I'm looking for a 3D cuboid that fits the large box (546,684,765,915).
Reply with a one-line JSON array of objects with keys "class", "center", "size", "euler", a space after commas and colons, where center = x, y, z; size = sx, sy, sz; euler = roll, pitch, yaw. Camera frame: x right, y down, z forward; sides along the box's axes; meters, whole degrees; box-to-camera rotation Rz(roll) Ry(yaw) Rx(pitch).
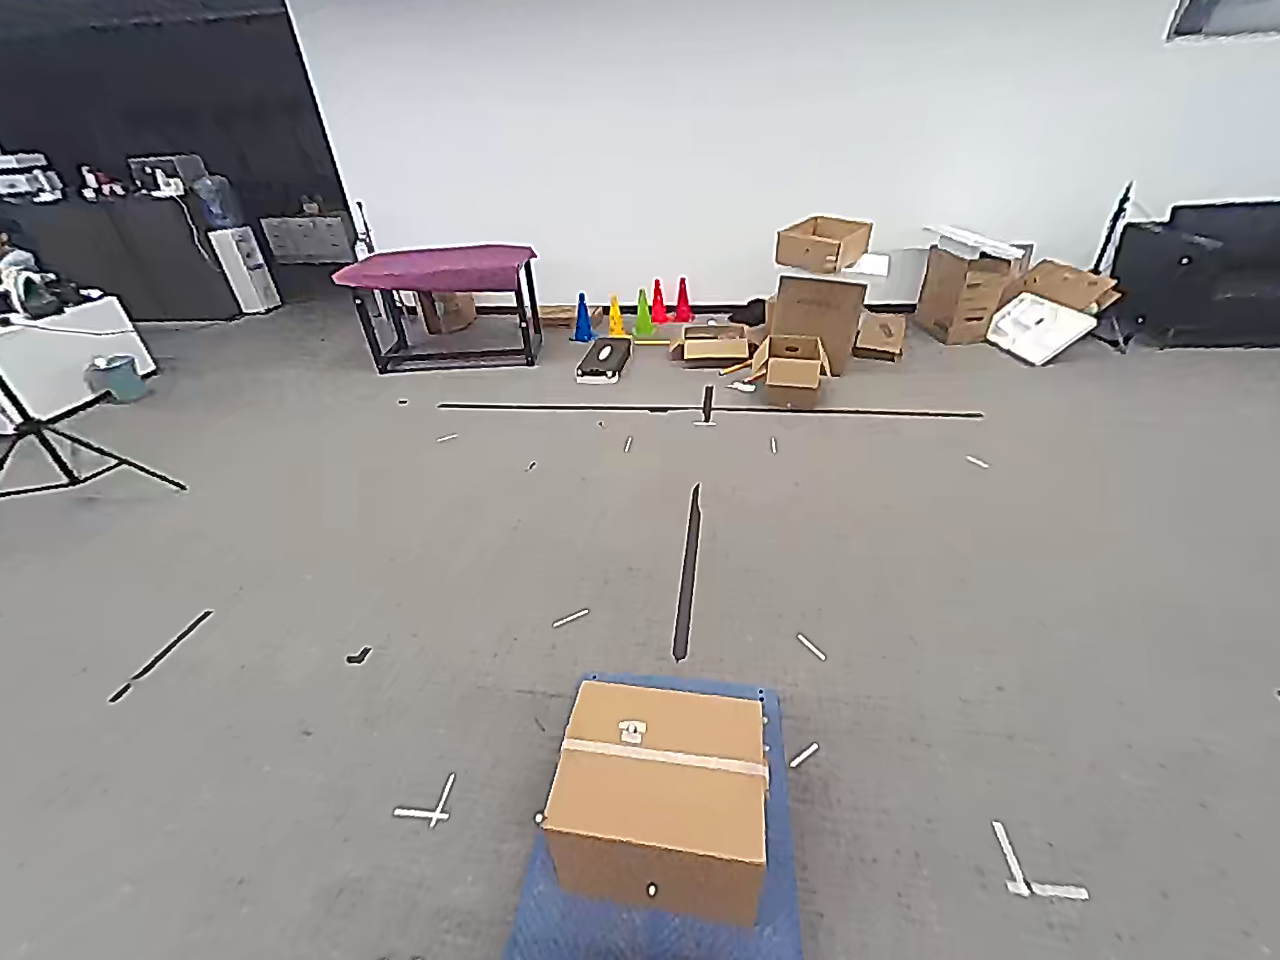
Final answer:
[{"class": "large box", "center": [0.053, 0.682, 1.171], "size": [0.408, 0.320, 0.320], "euler": [2, 34, 9]}]
